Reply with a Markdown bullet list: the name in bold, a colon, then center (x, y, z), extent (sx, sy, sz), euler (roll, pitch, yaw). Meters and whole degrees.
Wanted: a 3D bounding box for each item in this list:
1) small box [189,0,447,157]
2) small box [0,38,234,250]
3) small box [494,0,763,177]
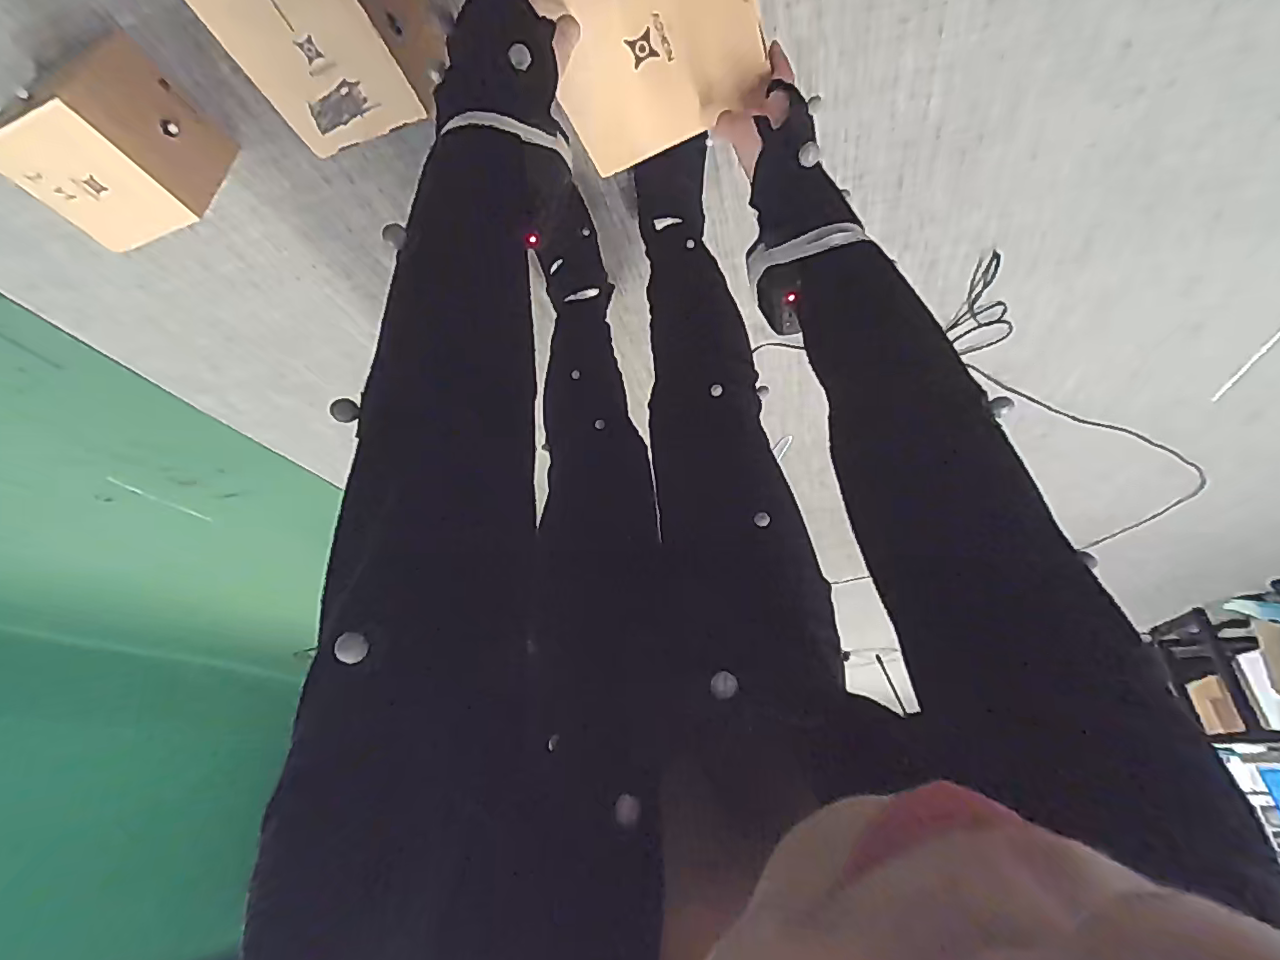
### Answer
- **small box**: center (-0.351, -0.527, 0.627), extent (0.168, 0.176, 0.179), euler (-9, 150, 16)
- **small box**: center (-0.713, -0.462, 0.752), extent (0.179, 0.176, 0.168), euler (-9, 150, 16)
- **small box**: center (-0.002, -0.423, 0.480), extent (0.179, 0.176, 0.168), euler (-13, 150, 22)
